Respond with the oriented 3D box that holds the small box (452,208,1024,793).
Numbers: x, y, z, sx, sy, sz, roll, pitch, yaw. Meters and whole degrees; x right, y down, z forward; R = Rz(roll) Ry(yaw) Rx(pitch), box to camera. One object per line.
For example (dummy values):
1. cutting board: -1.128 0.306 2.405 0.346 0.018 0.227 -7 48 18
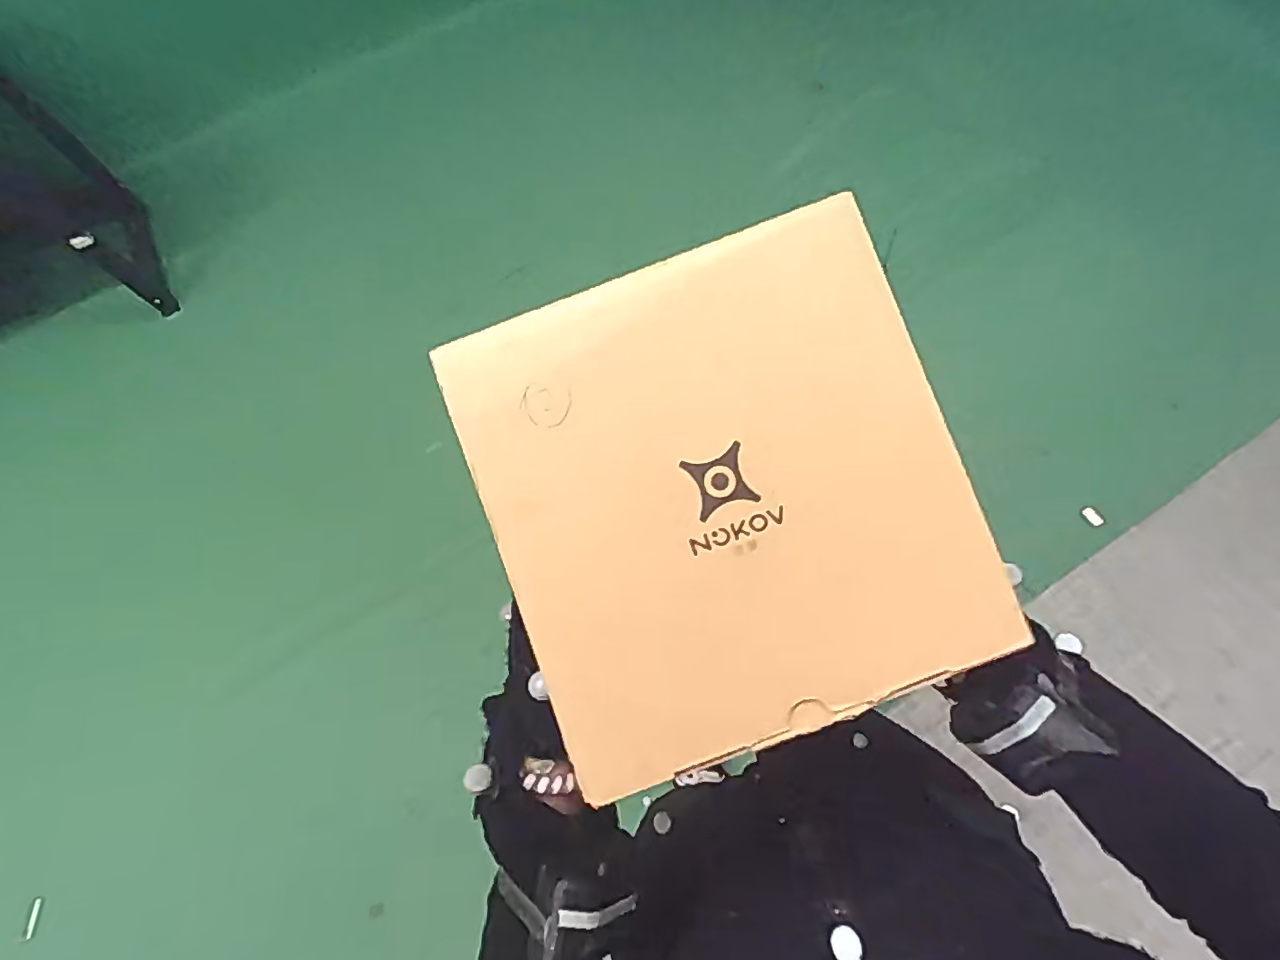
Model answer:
1. small box: 0.034 0.008 0.277 0.168 0.176 0.179 -21 88 0
